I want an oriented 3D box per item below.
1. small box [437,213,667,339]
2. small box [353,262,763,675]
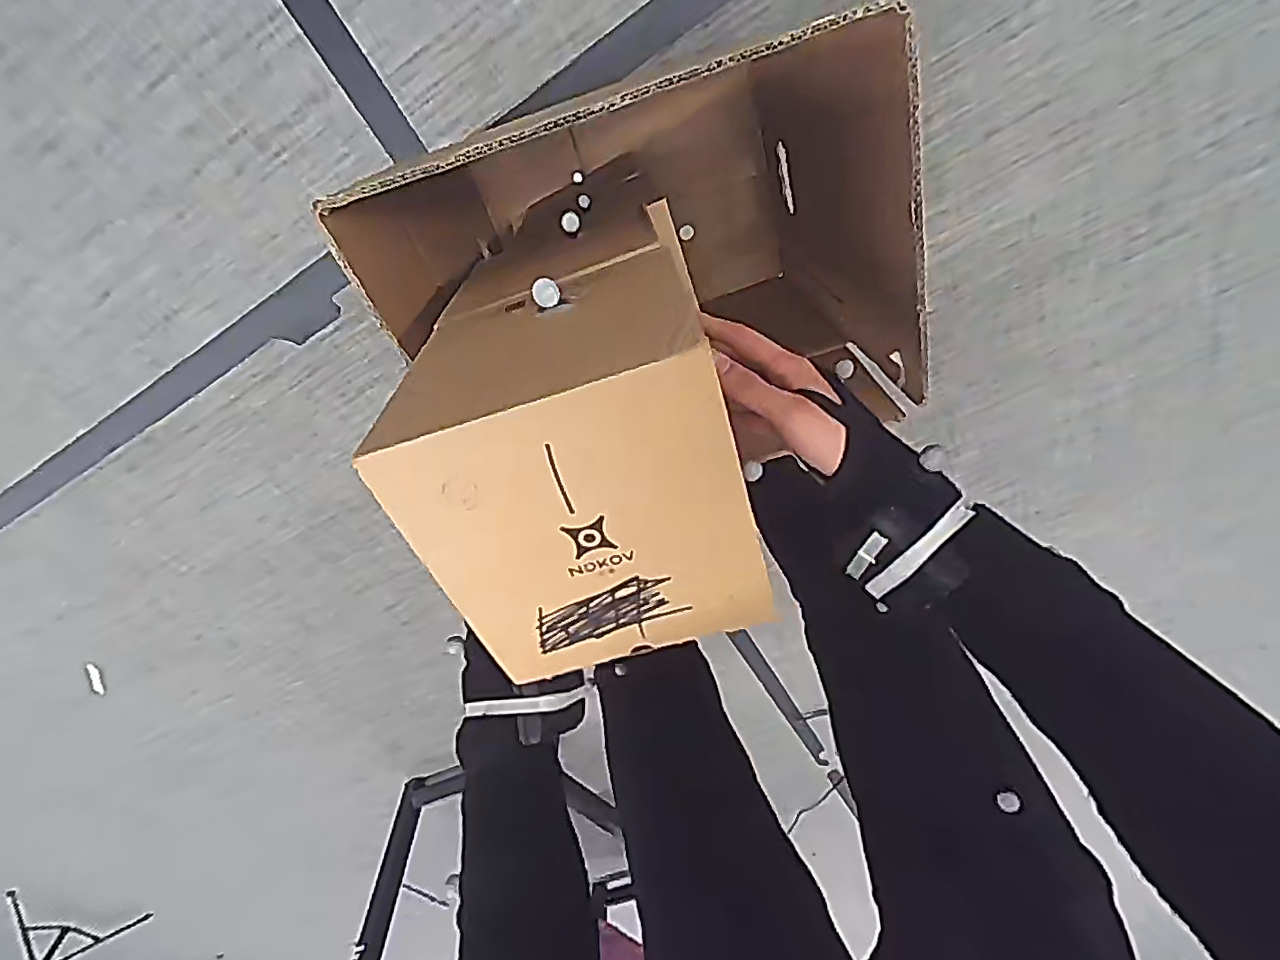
[{"bbox_3d":[-0.045,-0.108,0.477,0.168,0.176,0.179,-17,125,7],"label":"small box"},{"bbox_3d":[-0.033,-0.012,0.345,0.168,0.176,0.179,-17,125,6],"label":"small box"}]
